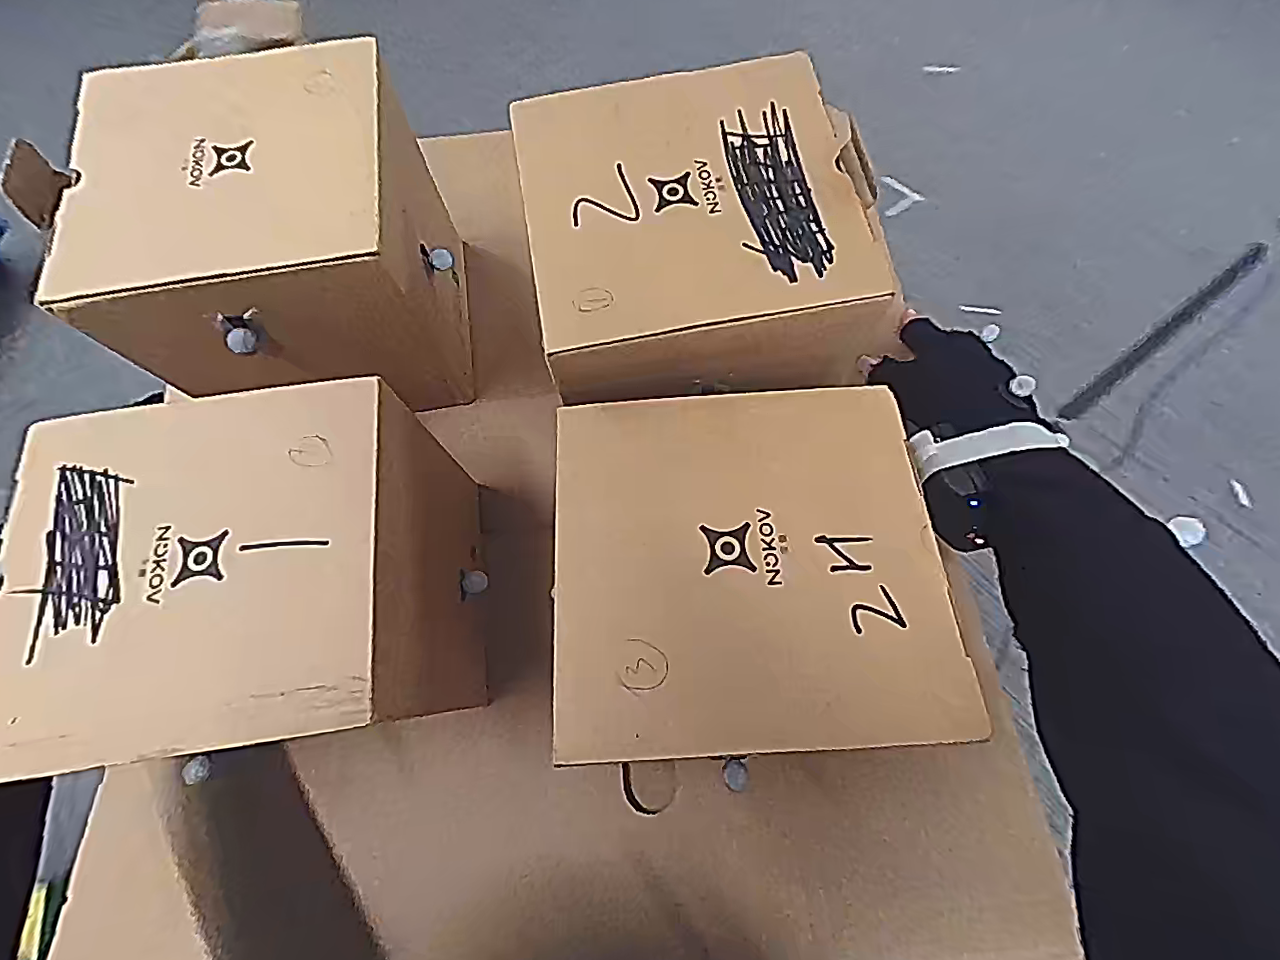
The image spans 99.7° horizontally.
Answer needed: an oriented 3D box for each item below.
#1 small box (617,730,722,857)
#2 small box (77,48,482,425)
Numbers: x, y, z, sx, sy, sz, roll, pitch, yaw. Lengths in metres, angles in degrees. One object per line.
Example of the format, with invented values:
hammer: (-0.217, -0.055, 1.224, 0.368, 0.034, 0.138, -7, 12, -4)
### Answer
small box: (0.057, 0.631, 1.085, 0.168, 0.176, 0.179, 14, 47, -8)
small box: (-0.221, -0.155, 0.387, 0.179, 0.176, 0.168, -9, 71, -1)
